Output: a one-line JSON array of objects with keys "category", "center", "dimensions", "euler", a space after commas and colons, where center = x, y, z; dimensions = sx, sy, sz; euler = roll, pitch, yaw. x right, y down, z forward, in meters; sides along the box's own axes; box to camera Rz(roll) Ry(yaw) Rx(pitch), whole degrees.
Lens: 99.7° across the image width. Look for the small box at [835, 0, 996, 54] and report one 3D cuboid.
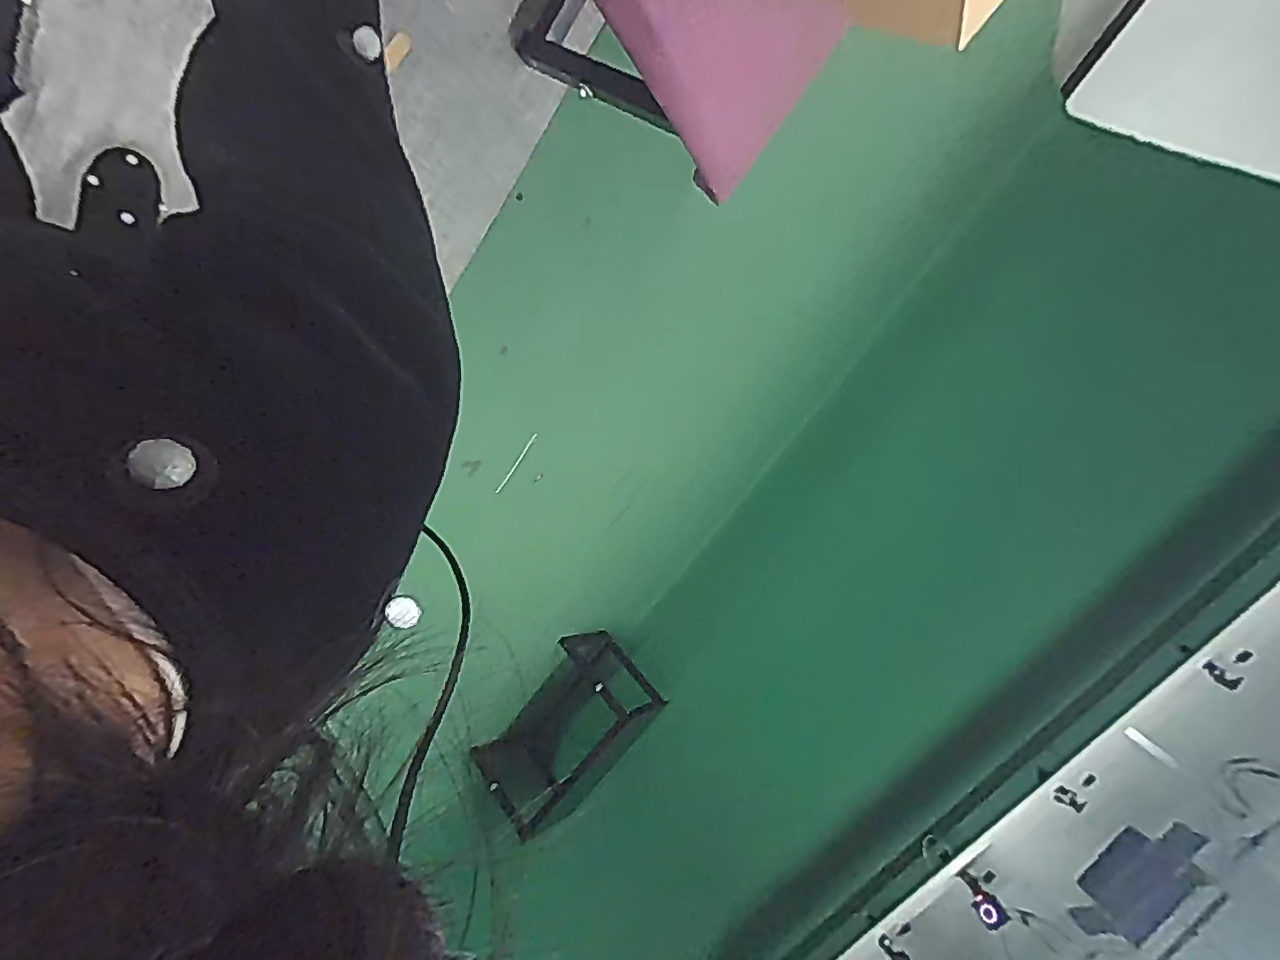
[{"category": "small box", "center": [0.330, -0.633, 0.598], "dimensions": [0.168, 0.176, 0.179], "euler": [-49, 153, 5]}]
